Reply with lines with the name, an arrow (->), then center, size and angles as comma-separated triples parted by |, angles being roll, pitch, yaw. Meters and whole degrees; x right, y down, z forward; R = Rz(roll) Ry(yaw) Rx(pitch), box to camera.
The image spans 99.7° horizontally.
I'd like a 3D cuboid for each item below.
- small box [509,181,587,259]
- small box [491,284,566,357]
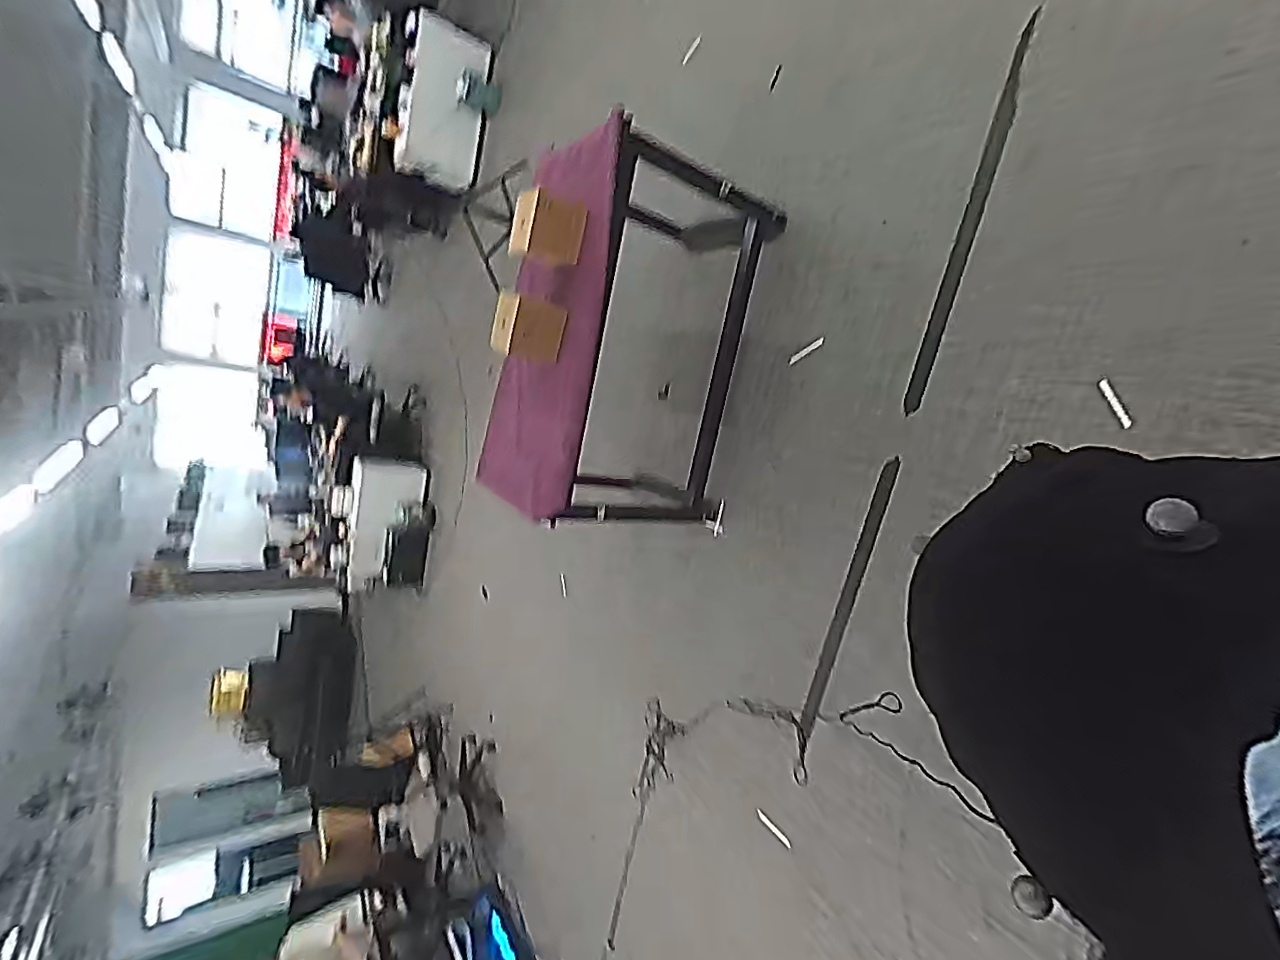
small box -> -0.281, -0.789, 1.659 | 0.168, 0.176, 0.179 | 31, 111, 51
small box -> -0.353, -0.505, 1.722 | 0.168, 0.176, 0.179 | 36, 114, 48
